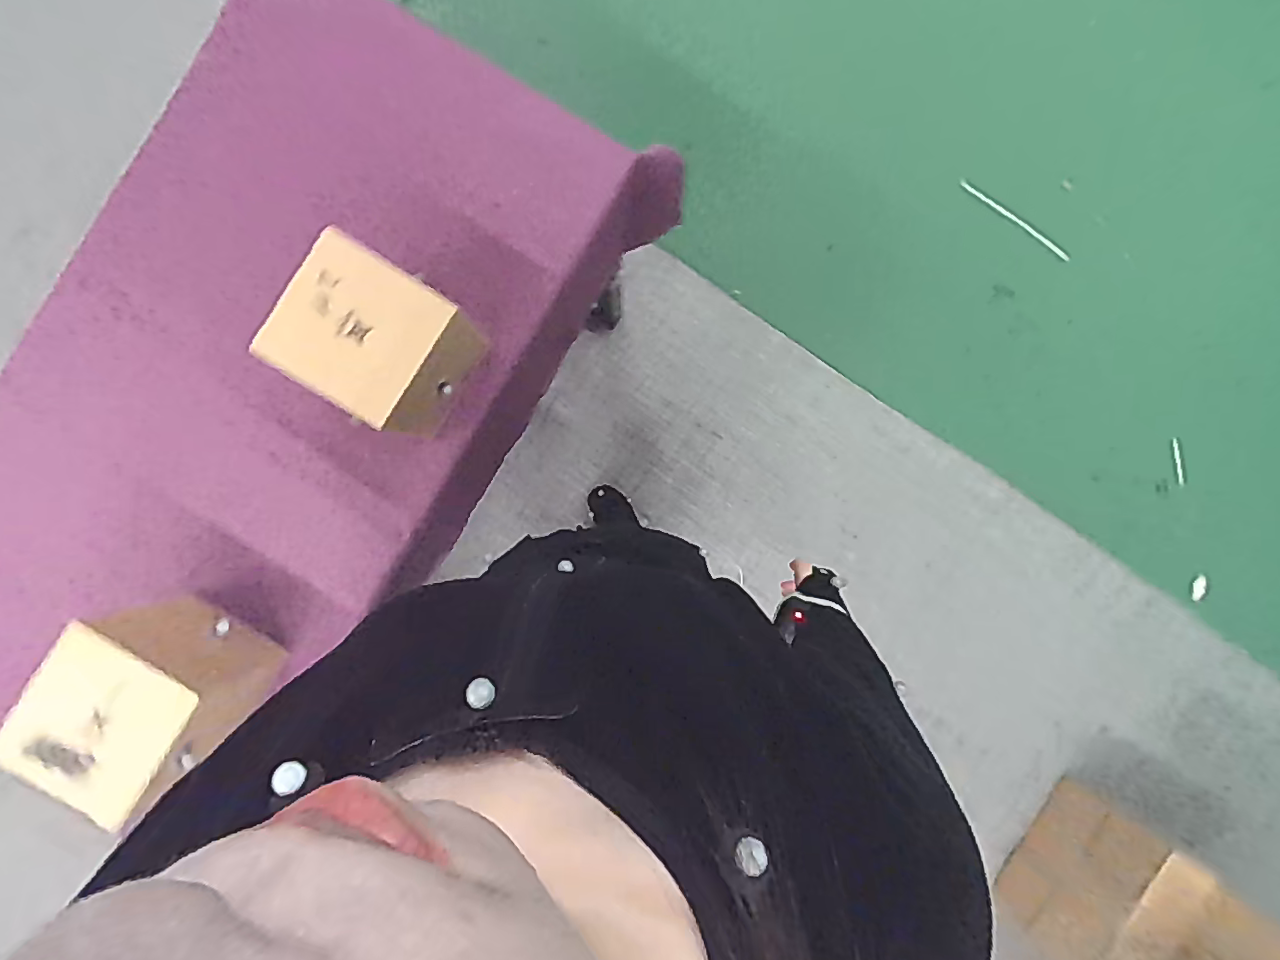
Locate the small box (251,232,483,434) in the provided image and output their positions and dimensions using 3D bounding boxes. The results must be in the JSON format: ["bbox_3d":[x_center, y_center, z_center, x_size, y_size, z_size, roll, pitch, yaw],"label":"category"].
[{"bbox_3d":[-0.329,-0.171,0.694,0.179,0.176,0.168,32,88,-1],"label":"small box"}]

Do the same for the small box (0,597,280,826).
[{"bbox_3d":[-0.607,0.273,0.681,0.168,0.176,0.179,31,88,-1],"label":"small box"}]
